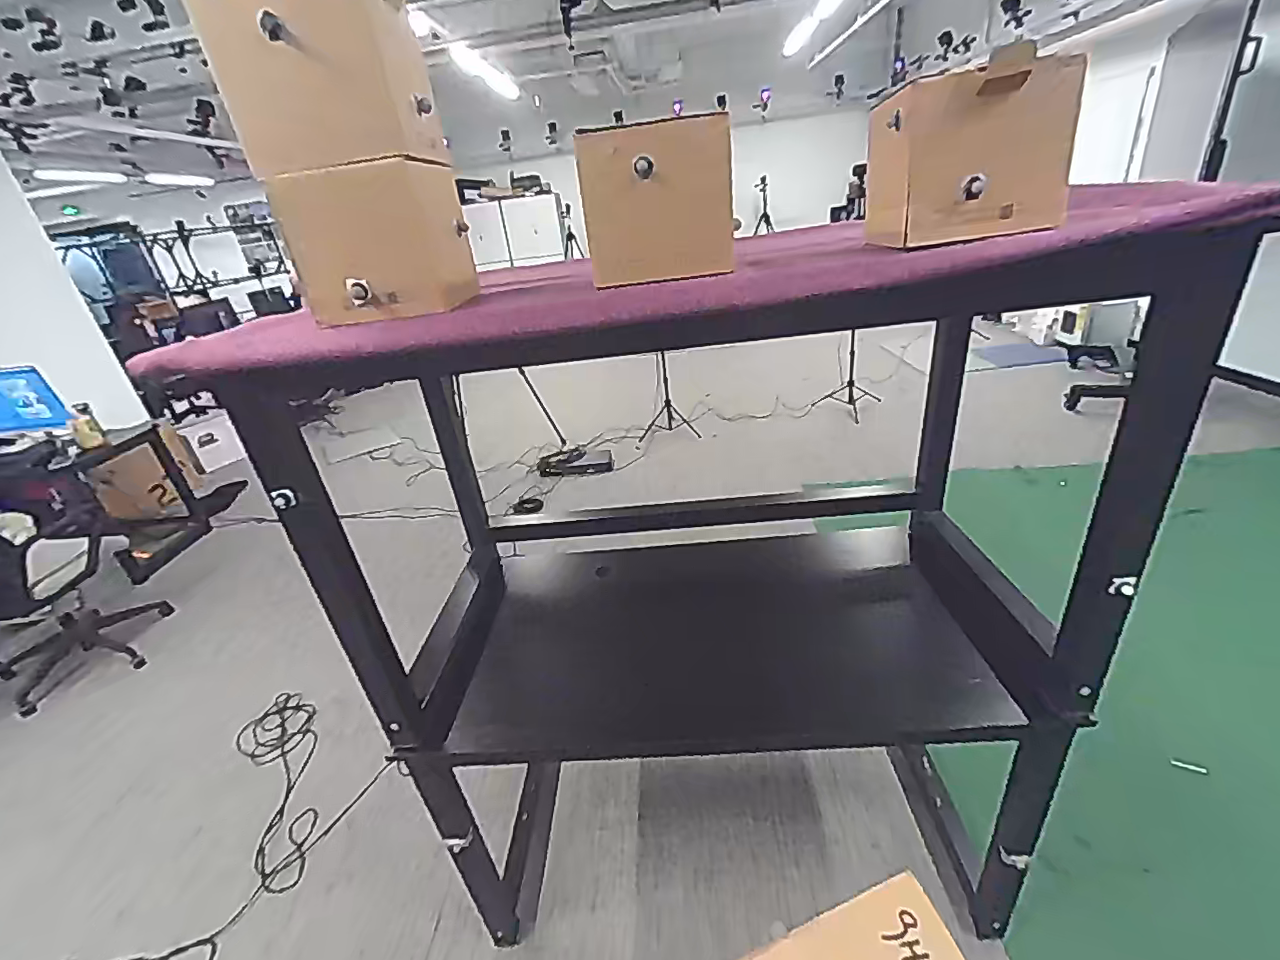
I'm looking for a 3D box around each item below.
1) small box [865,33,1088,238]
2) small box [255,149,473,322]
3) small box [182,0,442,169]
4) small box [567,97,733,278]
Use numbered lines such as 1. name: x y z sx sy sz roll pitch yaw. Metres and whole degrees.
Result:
1. small box: 0.376 -0.390 0.646 0.168 0.176 0.179 -5 25 9
2. small box: -0.327 -0.307 0.688 0.168 0.176 0.179 -8 28 2
3. small box: -0.354 -0.453 0.615 0.179 0.176 0.168 -8 28 2
4. small box: 0.020 -0.358 0.688 0.179 0.176 0.168 -5 26 6
